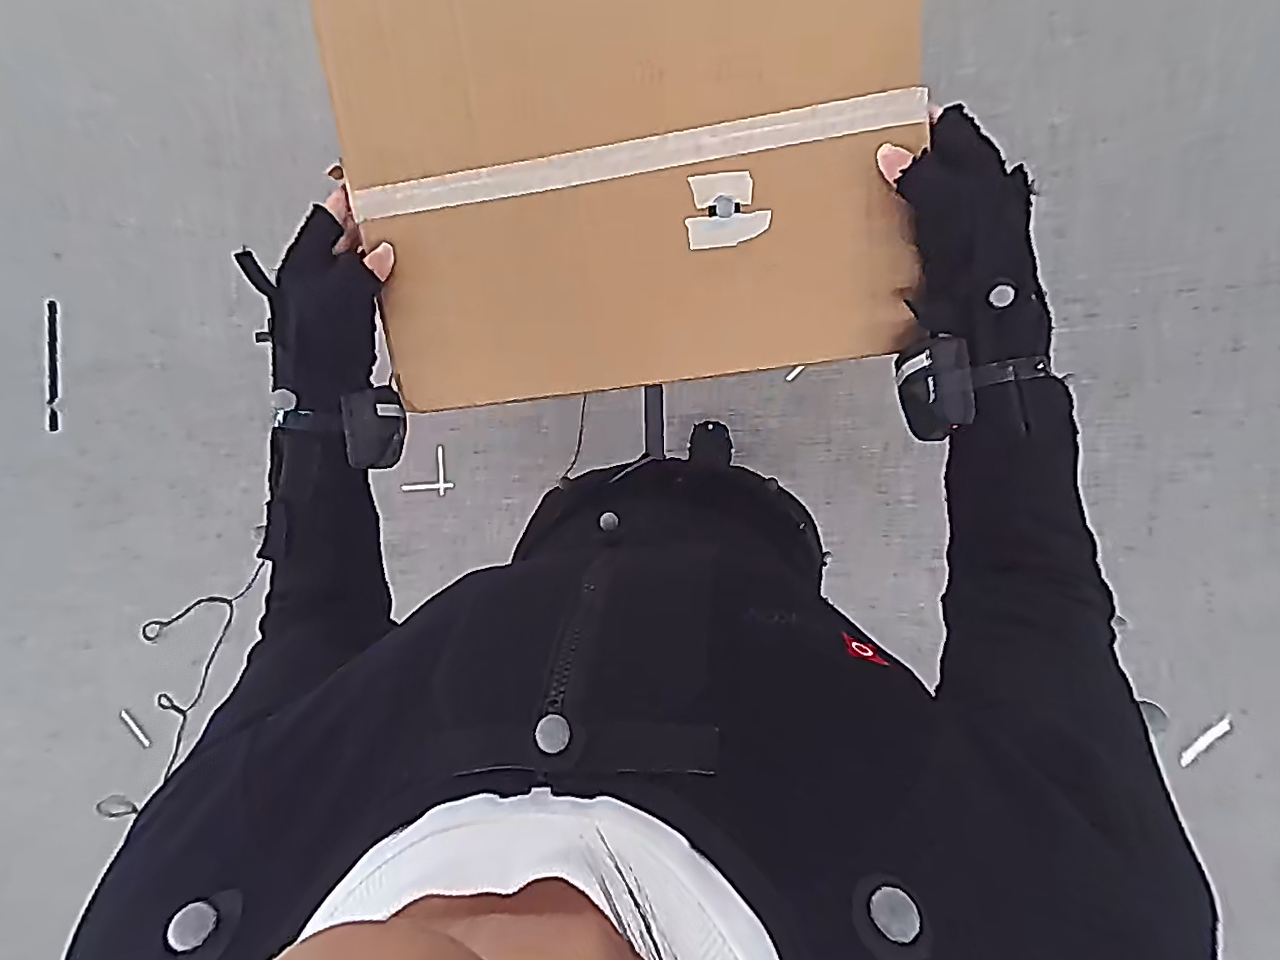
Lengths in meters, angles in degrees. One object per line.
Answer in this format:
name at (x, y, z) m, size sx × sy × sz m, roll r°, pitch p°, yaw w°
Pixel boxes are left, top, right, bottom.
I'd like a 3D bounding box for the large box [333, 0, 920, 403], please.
large box at (0.005, -0.269, 0.540) m, size 0.408 × 0.320 × 0.320 m, roll -6°, pitch 104°, yaw 6°
